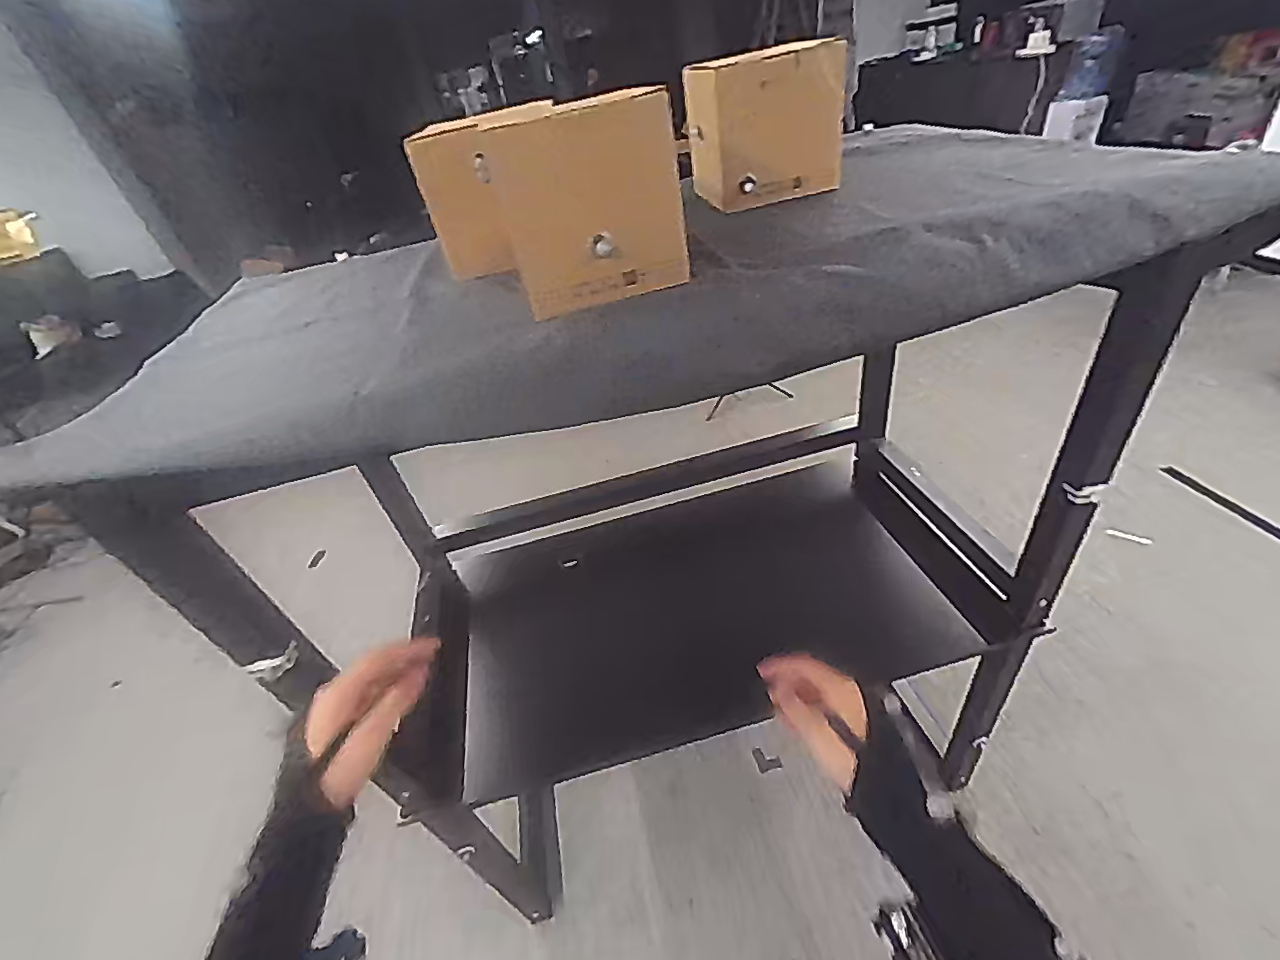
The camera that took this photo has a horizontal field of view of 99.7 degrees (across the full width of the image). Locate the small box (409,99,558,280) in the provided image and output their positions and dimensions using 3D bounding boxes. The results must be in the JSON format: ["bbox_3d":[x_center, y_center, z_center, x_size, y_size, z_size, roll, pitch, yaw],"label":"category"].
[{"bbox_3d":[-0.177,-0.391,0.730,0.179,0.176,0.168,-12,38,1],"label":"small box"}]

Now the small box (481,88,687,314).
[{"bbox_3d":[-0.058,-0.293,0.569,0.168,0.176,0.179,-16,37,-4],"label":"small box"}]

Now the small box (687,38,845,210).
[{"bbox_3d":[0.172,-0.497,0.764,0.168,0.176,0.179,-13,37,-1],"label":"small box"}]
